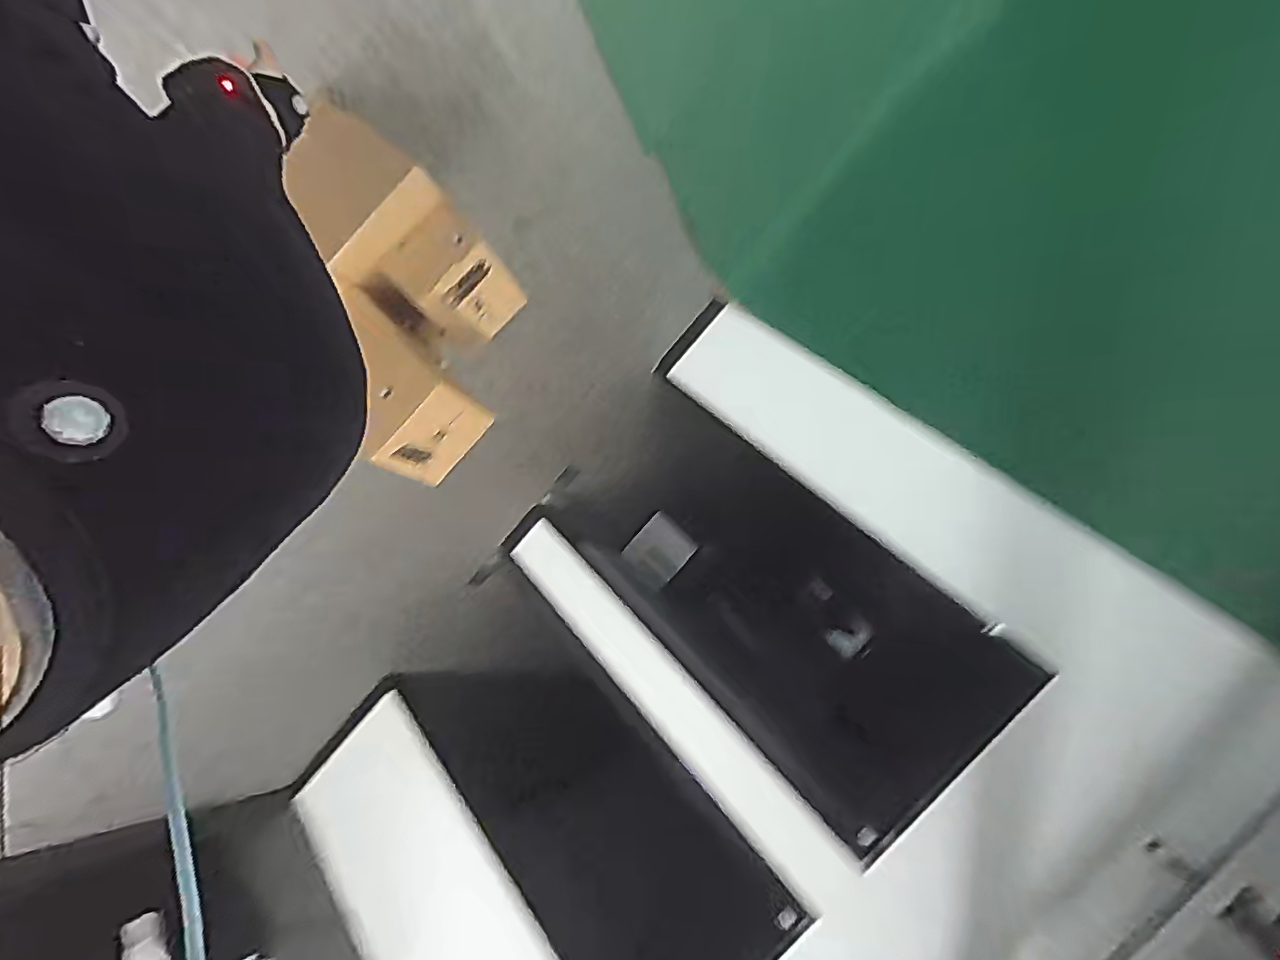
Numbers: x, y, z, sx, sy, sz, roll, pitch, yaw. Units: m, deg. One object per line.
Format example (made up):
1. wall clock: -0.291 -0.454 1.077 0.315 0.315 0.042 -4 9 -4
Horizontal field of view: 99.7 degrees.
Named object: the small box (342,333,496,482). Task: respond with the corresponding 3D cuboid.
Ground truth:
1. small box: -0.408 -0.131 0.989 0.179 0.176 0.168 -48 155 1
